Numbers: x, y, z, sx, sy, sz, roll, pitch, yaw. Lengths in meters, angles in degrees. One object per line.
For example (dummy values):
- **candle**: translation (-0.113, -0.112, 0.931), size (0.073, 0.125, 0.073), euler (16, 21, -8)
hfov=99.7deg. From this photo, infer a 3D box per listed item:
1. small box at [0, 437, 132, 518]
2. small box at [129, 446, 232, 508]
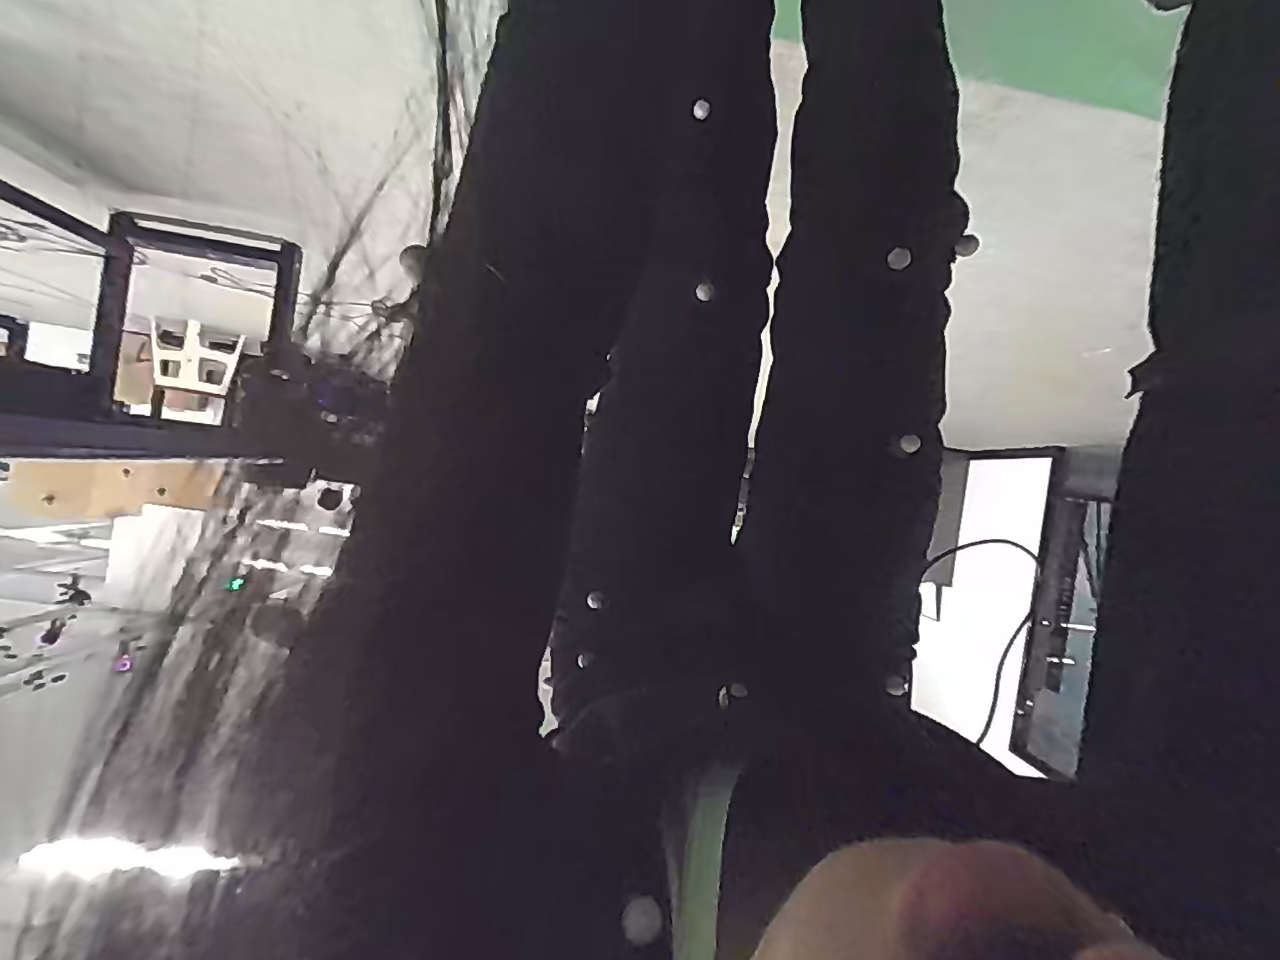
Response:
- **small box**: translation (-1.372, -0.010, 1.287), size (0.179, 0.176, 0.168), euler (8, 180, -6)
- **small box**: translation (-1.401, -0.013, 1.661), size (0.179, 0.176, 0.168), euler (8, 180, -6)
